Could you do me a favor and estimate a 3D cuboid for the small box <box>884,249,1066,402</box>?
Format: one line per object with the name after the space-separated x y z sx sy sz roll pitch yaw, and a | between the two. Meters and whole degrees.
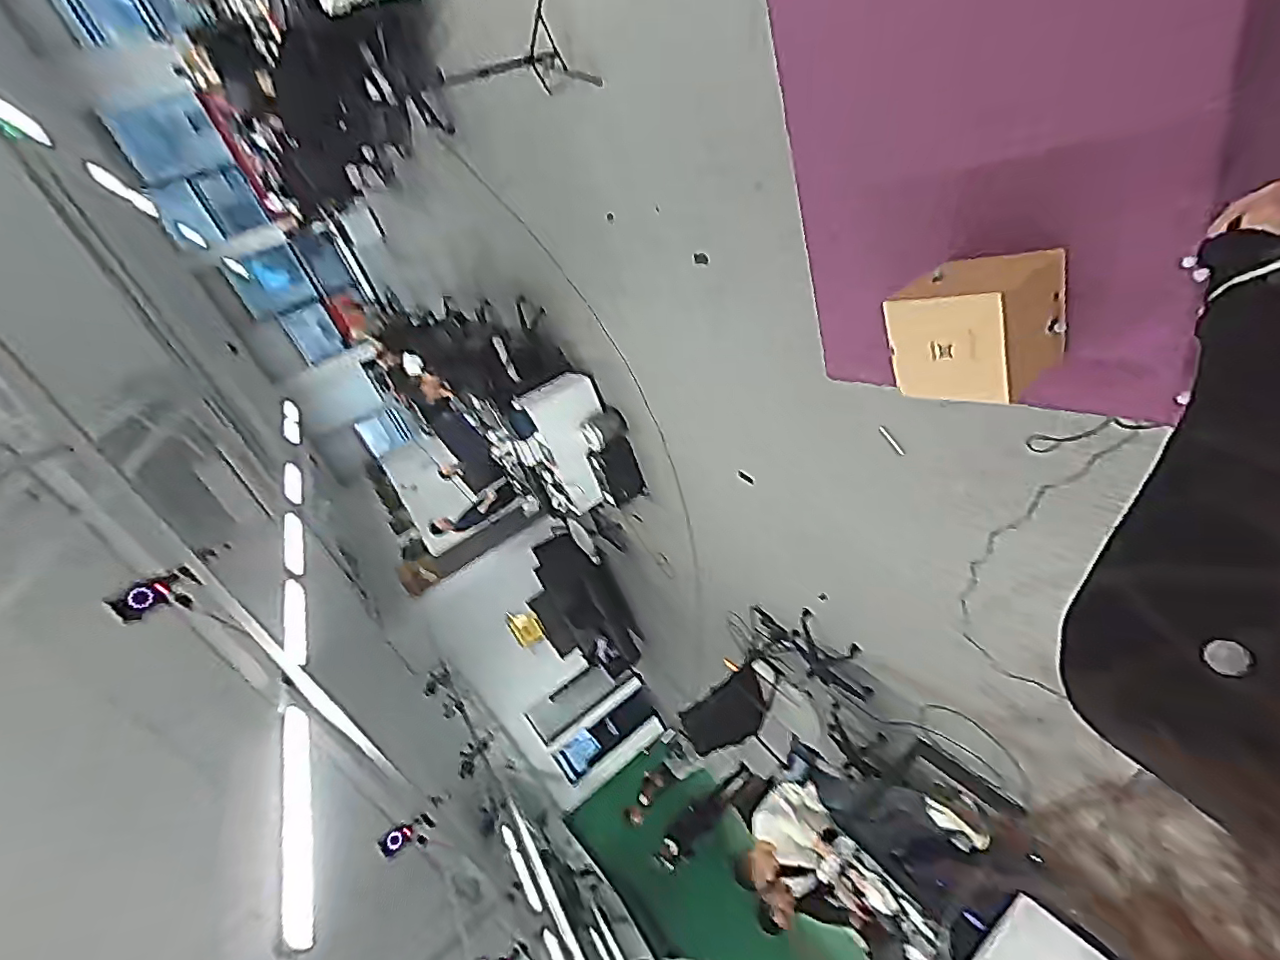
0.516 -0.239 0.837 0.179 0.176 0.168 23 142 57 | small box
